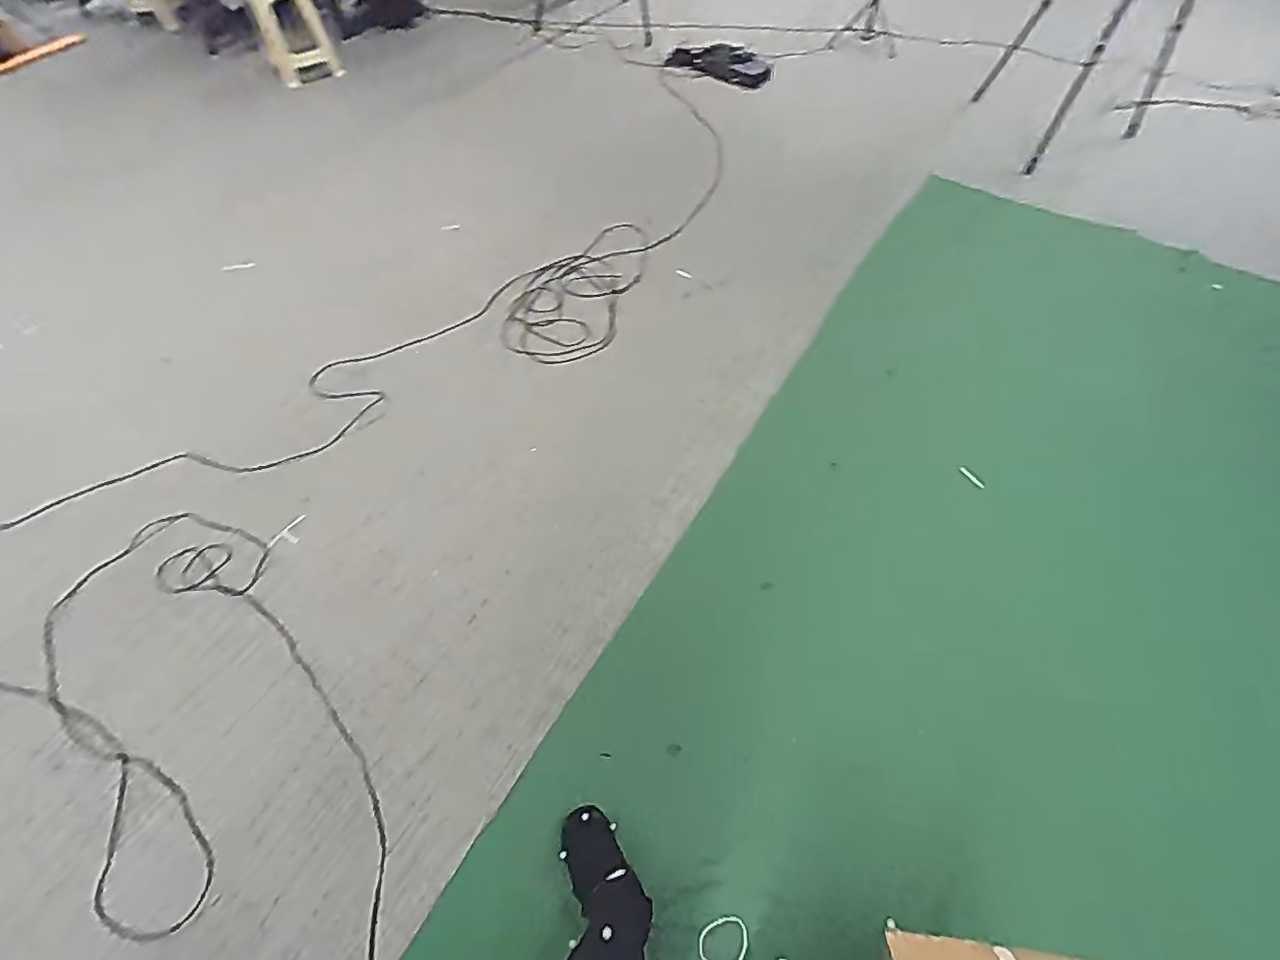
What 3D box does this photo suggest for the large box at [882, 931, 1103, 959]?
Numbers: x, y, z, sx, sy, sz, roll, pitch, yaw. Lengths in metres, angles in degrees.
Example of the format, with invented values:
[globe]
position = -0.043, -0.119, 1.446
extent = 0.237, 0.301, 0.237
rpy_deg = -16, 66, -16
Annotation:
[large box]
position = 0.485, 0.828, 0.597
extent = 0.320, 0.408, 0.320
rpy_deg = 2, 88, 10
